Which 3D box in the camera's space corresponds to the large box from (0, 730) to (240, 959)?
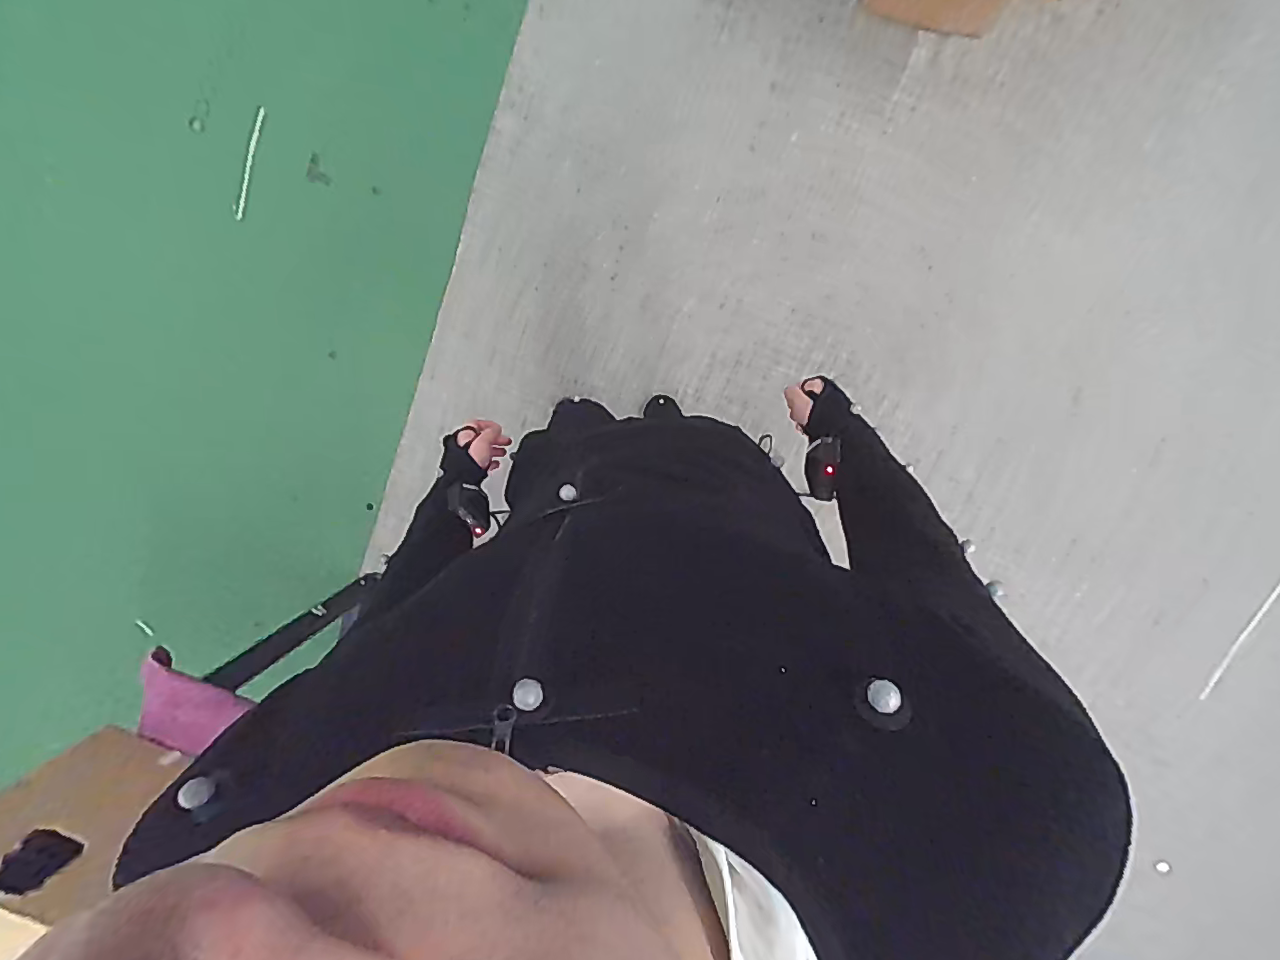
[{"bbox_3d":[-1.018,0.760,0.979,0.320,0.320,0.408,22,102,-1],"label":"large box"}]
